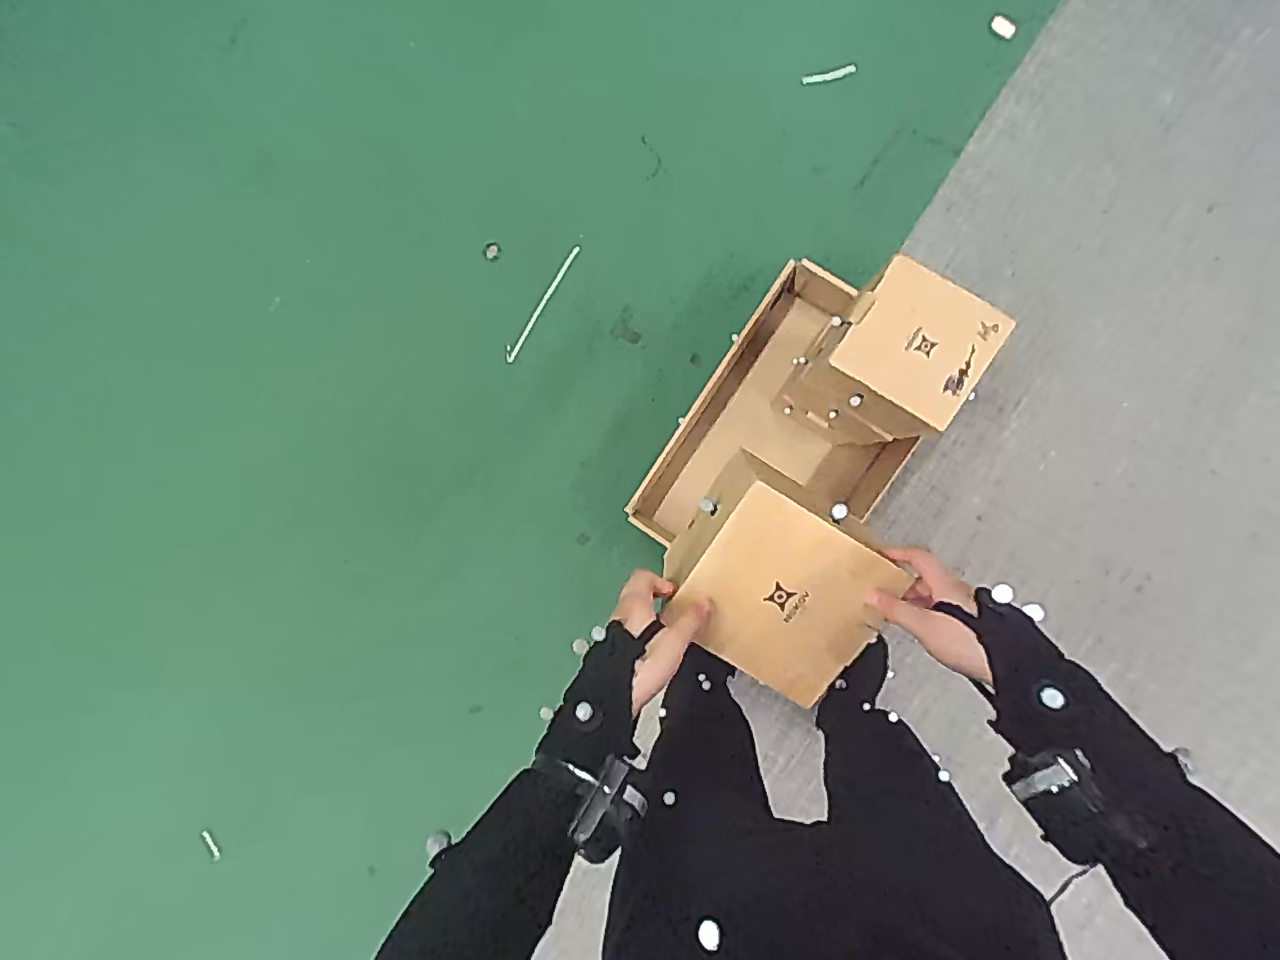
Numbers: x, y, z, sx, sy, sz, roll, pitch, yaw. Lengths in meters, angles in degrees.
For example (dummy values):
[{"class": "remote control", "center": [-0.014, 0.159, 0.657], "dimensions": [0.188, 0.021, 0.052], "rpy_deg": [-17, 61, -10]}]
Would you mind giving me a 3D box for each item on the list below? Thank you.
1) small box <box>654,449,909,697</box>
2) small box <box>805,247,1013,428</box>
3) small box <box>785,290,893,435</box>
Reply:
[{"class": "small box", "center": [0.131, 0.081, 0.571], "dimensions": [0.179, 0.176, 0.168], "rpy_deg": [32, 103, -4]}, {"class": "small box", "center": [0.359, -0.185, 0.763], "dimensions": [0.179, 0.176, 0.168], "rpy_deg": [32, 94, 5]}, {"class": "small box", "center": [0.374, -0.188, 0.927], "dimensions": [0.179, 0.176, 0.168], "rpy_deg": [35, 94, 3]}]
